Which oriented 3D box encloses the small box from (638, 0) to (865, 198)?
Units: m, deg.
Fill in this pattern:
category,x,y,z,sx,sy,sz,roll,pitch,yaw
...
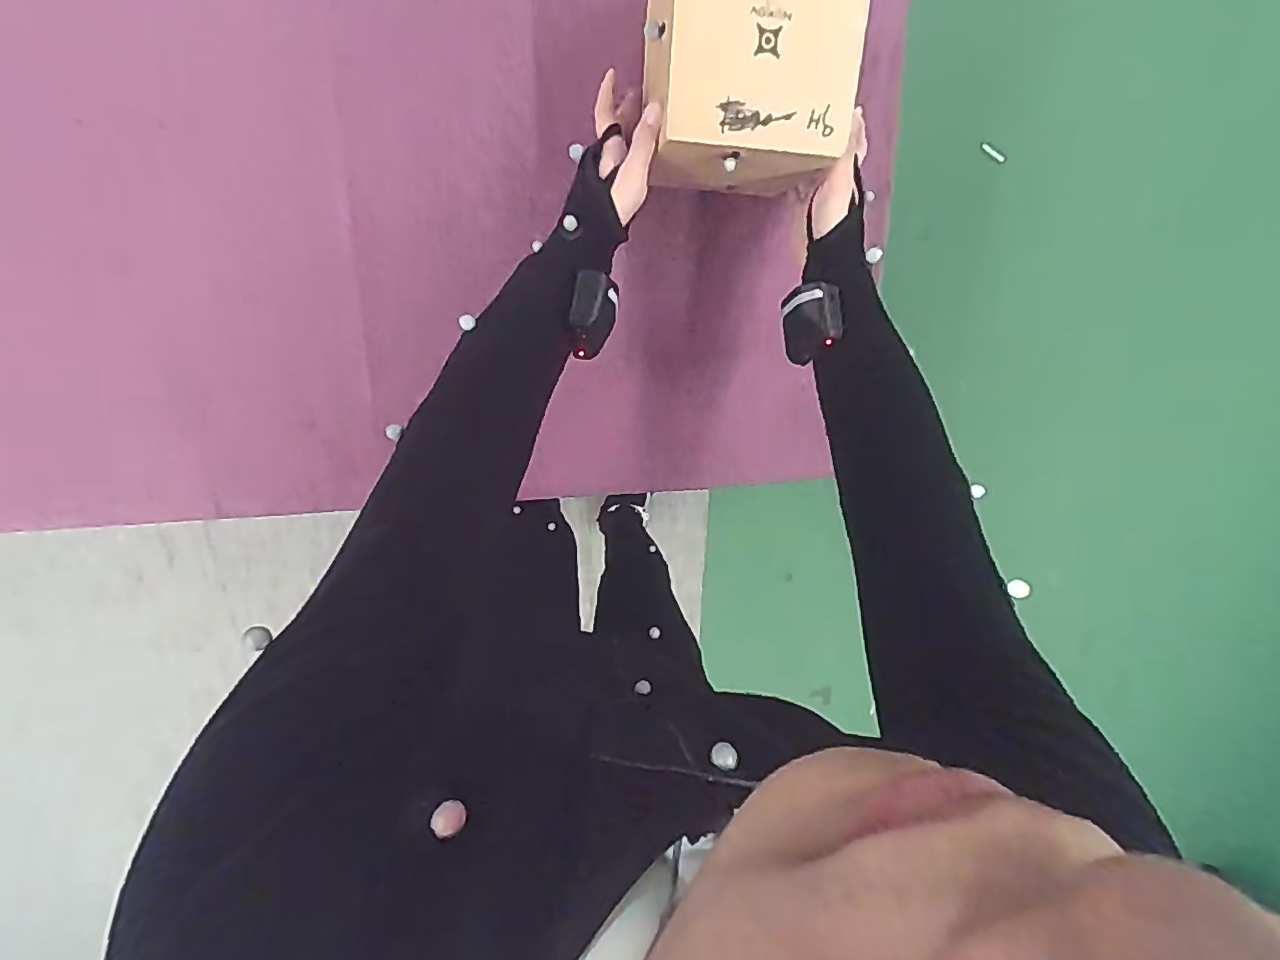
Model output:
category,x,y,z,sx,sy,sz,roll,pitch,yaw
small box,0.091,-0.390,0.516,0.168,0.176,0.179,2,106,-7
